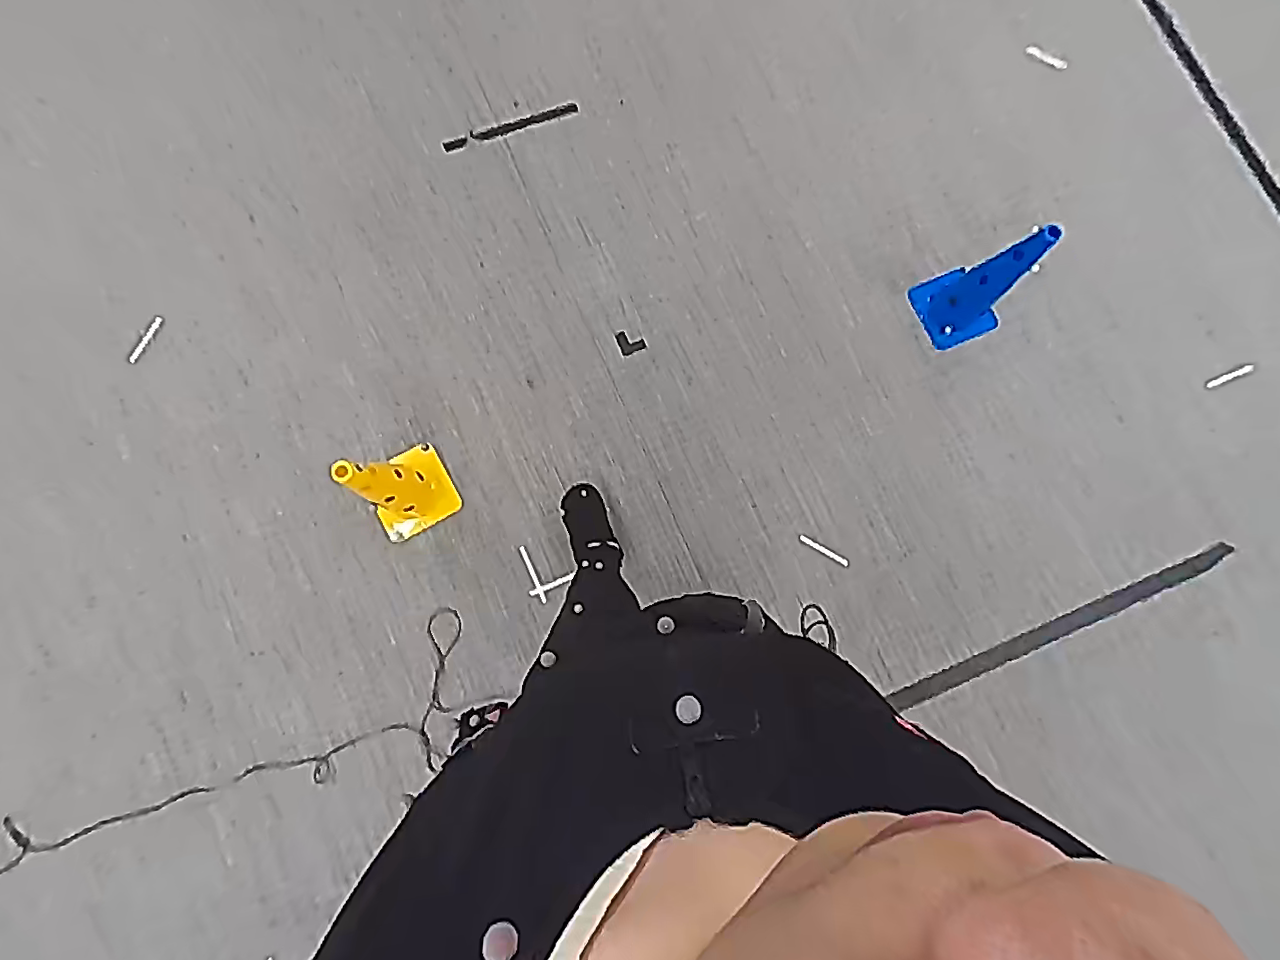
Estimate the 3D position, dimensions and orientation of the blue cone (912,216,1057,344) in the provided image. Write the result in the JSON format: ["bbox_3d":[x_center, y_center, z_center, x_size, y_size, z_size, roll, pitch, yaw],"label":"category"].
[{"bbox_3d":[0.870,-0.505,1.328,0.193,0.380,0.192,-22,82,-5],"label":"blue cone"}]
